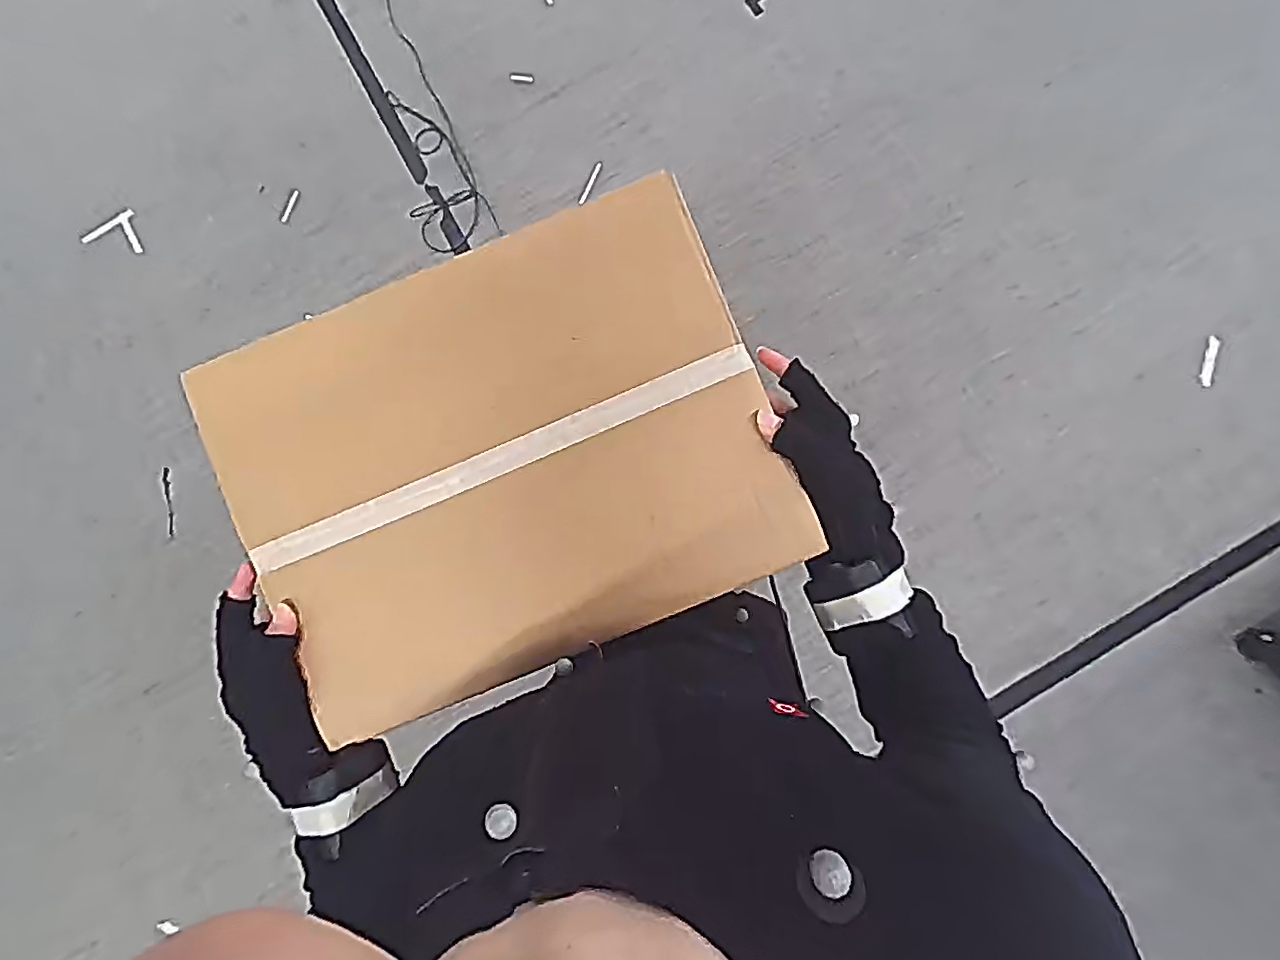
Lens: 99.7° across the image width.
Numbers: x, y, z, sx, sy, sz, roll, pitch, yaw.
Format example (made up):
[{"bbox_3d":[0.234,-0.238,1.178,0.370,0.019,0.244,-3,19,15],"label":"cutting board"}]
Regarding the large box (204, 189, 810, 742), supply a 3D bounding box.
[{"bbox_3d":[-0.102,-0.011,0.569,0.408,0.320,0.320,-23,88,1],"label":"large box"}]
